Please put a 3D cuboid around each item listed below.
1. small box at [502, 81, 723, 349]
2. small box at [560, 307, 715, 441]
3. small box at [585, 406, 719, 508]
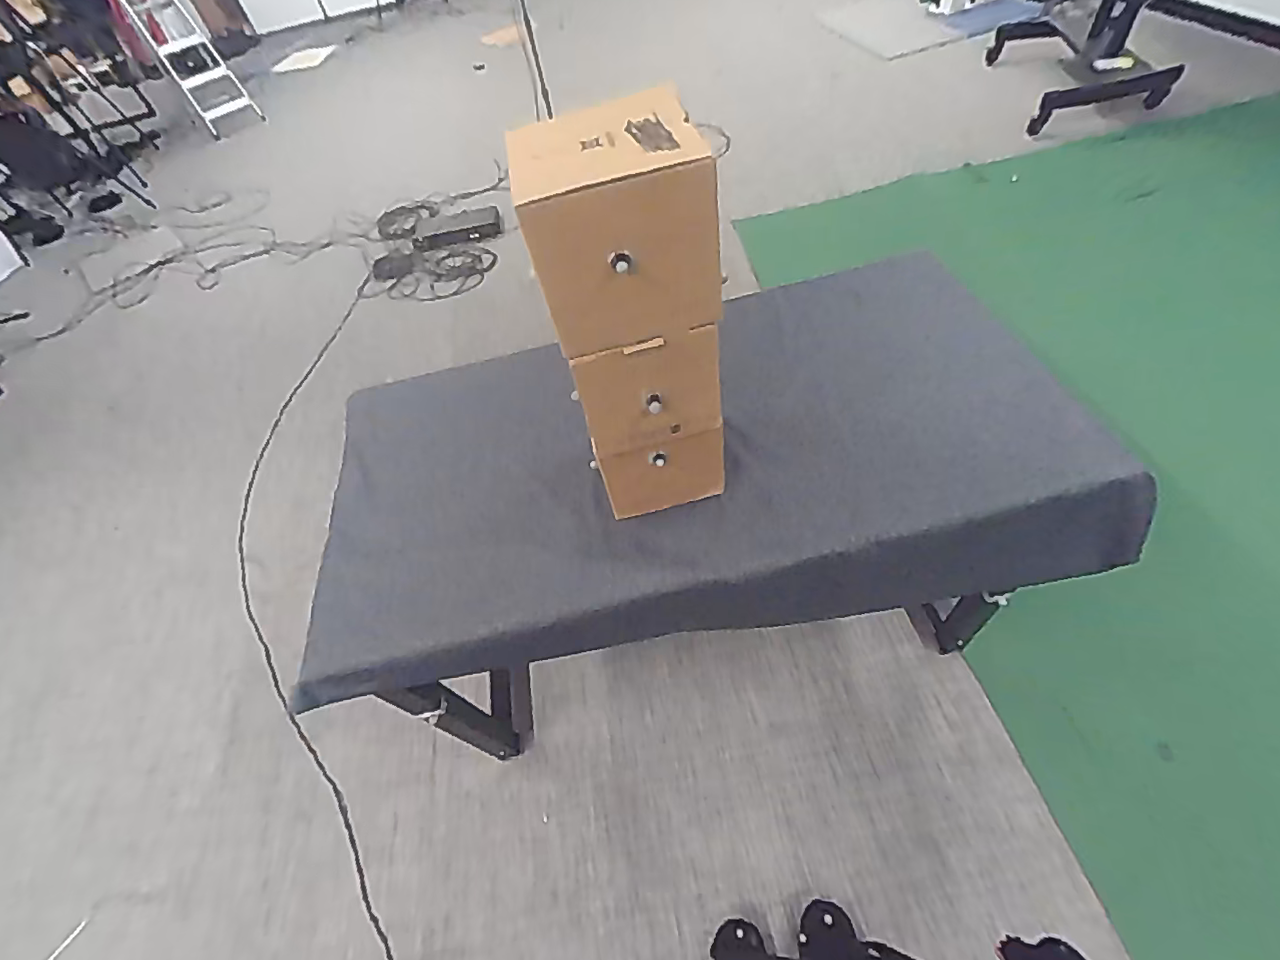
[{"bbox_3d":[-0.024,-0.262,0.548,0.179,0.176,0.168,-15,54,-2],"label":"small box"},{"bbox_3d":[-0.007,-0.168,0.683,0.168,0.176,0.179,-15,54,0],"label":"small box"},{"bbox_3d":[0.016,-0.078,0.818,0.179,0.176,0.168,-14,54,-1],"label":"small box"}]
